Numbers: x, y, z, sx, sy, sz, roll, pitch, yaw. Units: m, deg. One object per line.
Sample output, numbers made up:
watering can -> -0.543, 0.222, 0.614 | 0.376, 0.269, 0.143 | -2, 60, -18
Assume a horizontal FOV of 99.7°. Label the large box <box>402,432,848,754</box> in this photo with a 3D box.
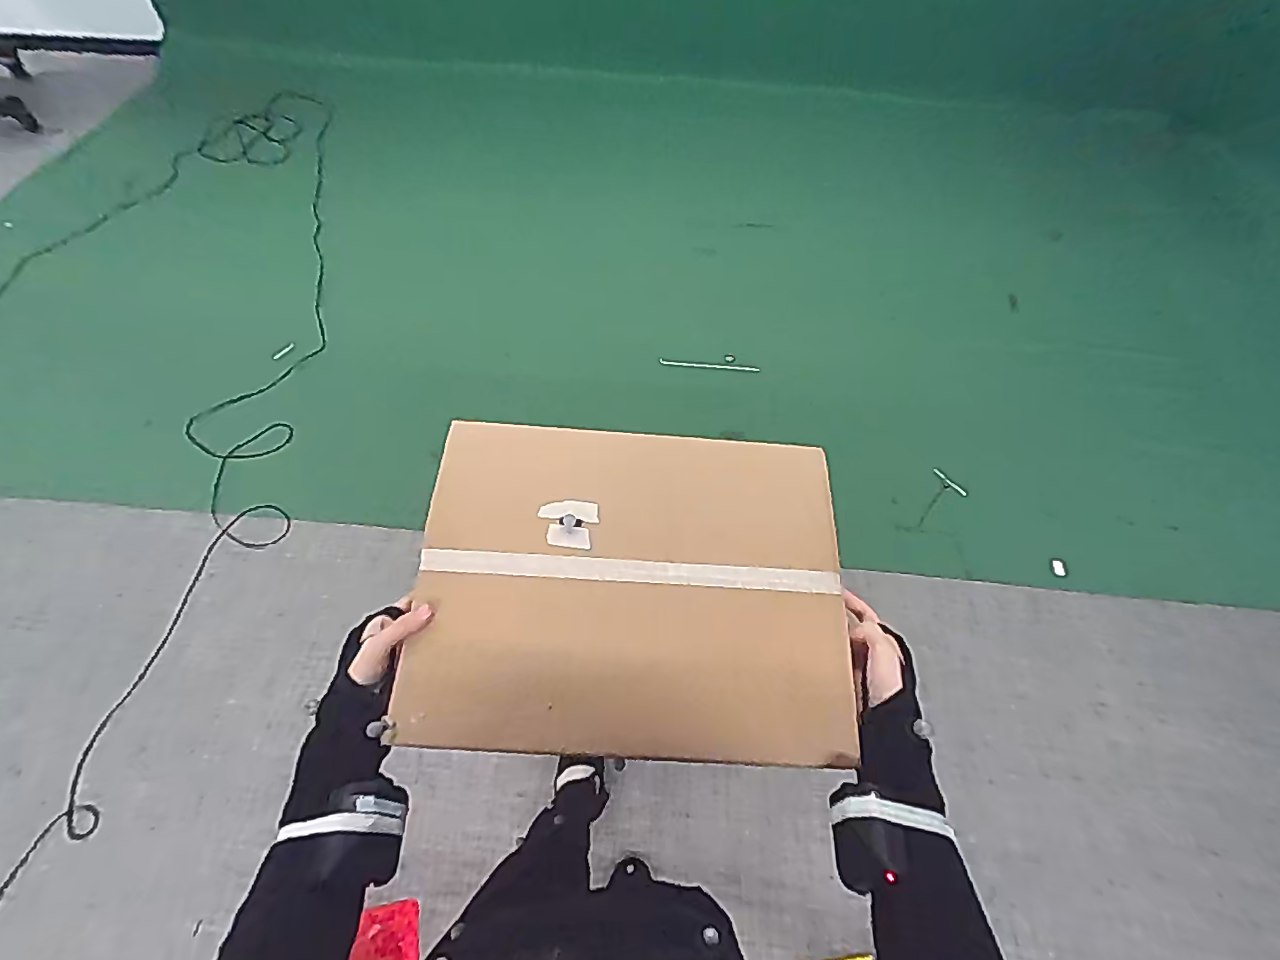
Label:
large box -> -0.011, 0.156, 0.672 | 0.408, 0.320, 0.320 | 4, 64, -1
